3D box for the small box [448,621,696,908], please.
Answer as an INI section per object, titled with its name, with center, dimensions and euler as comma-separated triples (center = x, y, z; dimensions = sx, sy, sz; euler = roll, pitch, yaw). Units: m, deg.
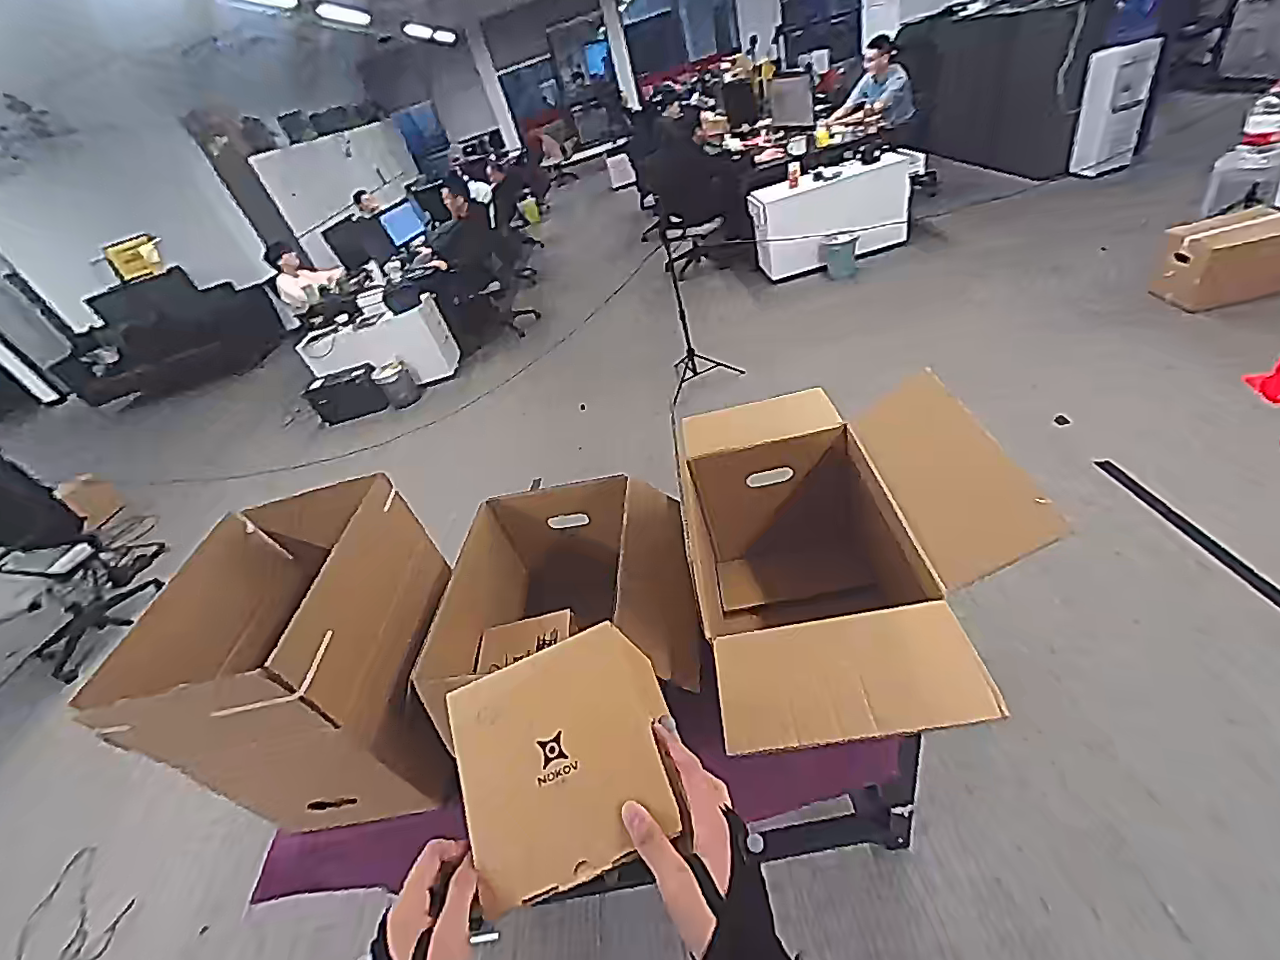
[small box]
center = -0.058, 0.265, 0.520
dimensions = 0.168, 0.176, 0.179
euler = -24, 59, 0
